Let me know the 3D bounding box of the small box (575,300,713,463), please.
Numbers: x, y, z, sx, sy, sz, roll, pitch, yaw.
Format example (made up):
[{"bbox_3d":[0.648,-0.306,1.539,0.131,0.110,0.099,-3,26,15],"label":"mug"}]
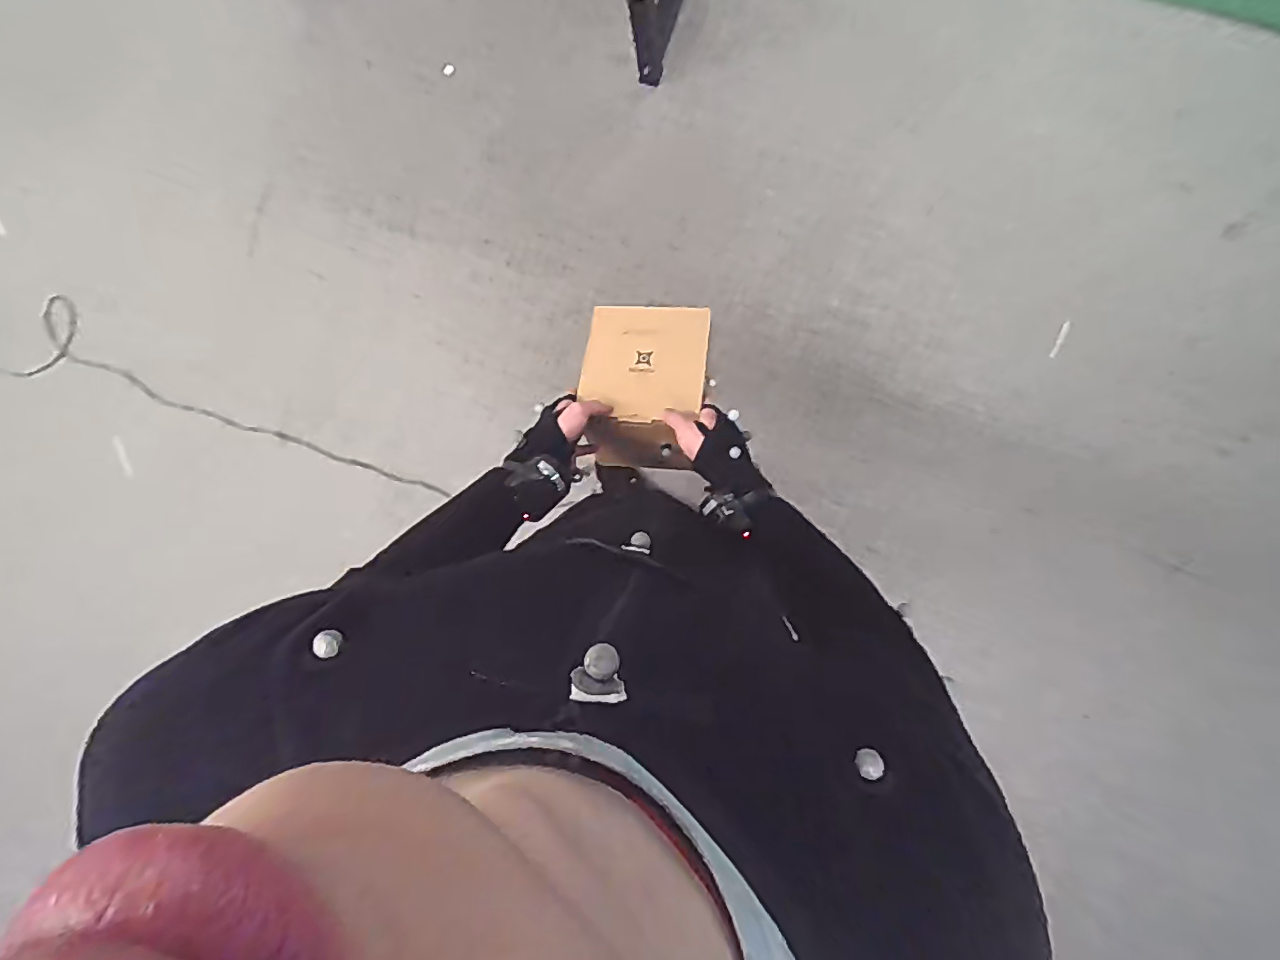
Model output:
[{"bbox_3d":[0.017,-0.137,0.788,0.168,0.176,0.179,5,69,9],"label":"small box"}]
